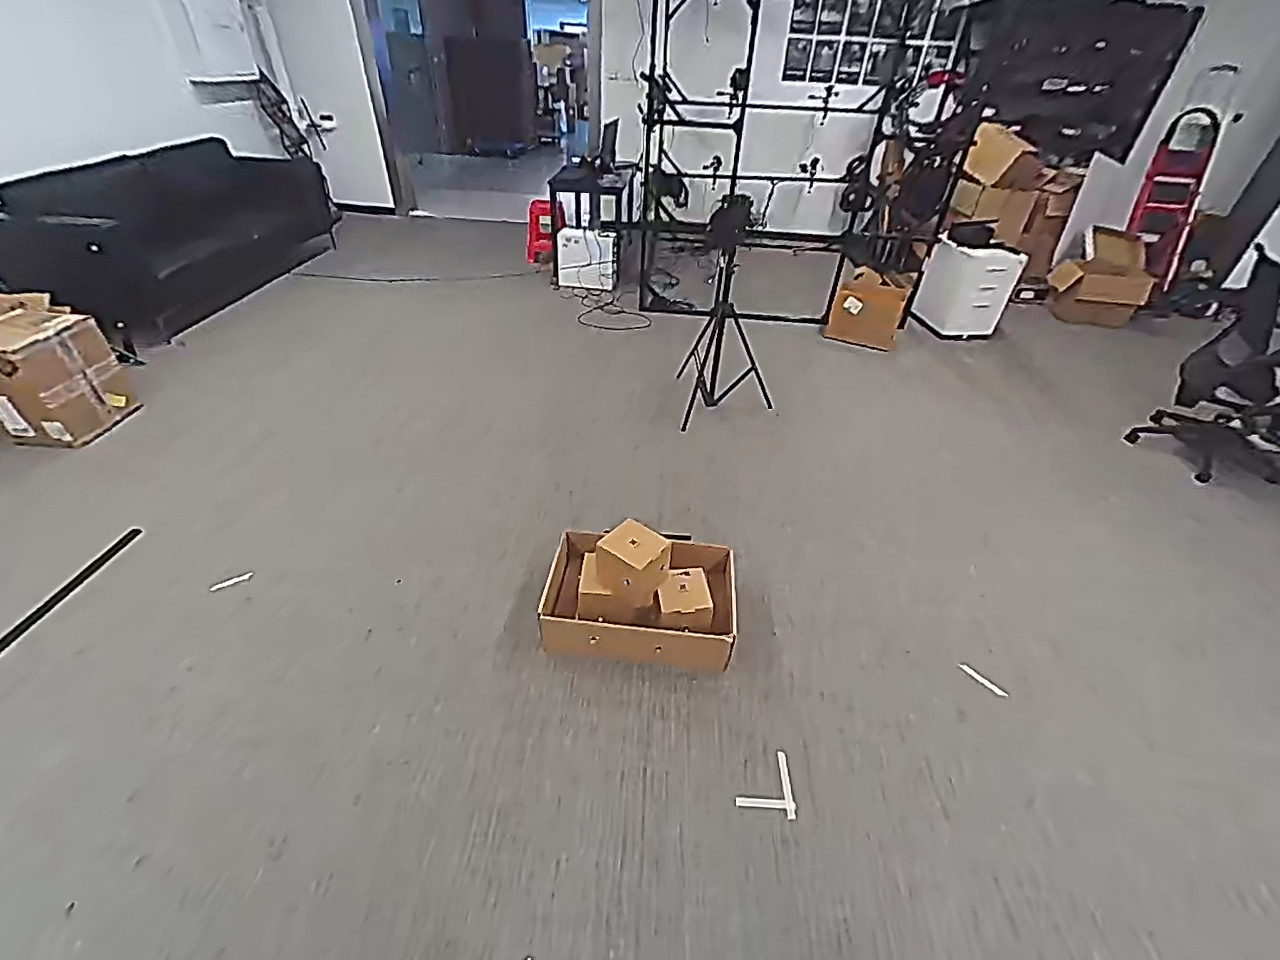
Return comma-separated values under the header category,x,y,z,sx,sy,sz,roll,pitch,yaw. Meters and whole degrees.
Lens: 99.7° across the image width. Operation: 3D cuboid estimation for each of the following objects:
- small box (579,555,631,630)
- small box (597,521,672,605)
category,x,y,z,sx,sy,sz,roll,pitch,yaw
small box,-0.112,0.377,1.813,0.168,0.176,0.179,5,38,0
small box,-0.019,0.264,1.701,0.179,0.176,0.168,26,41,28
